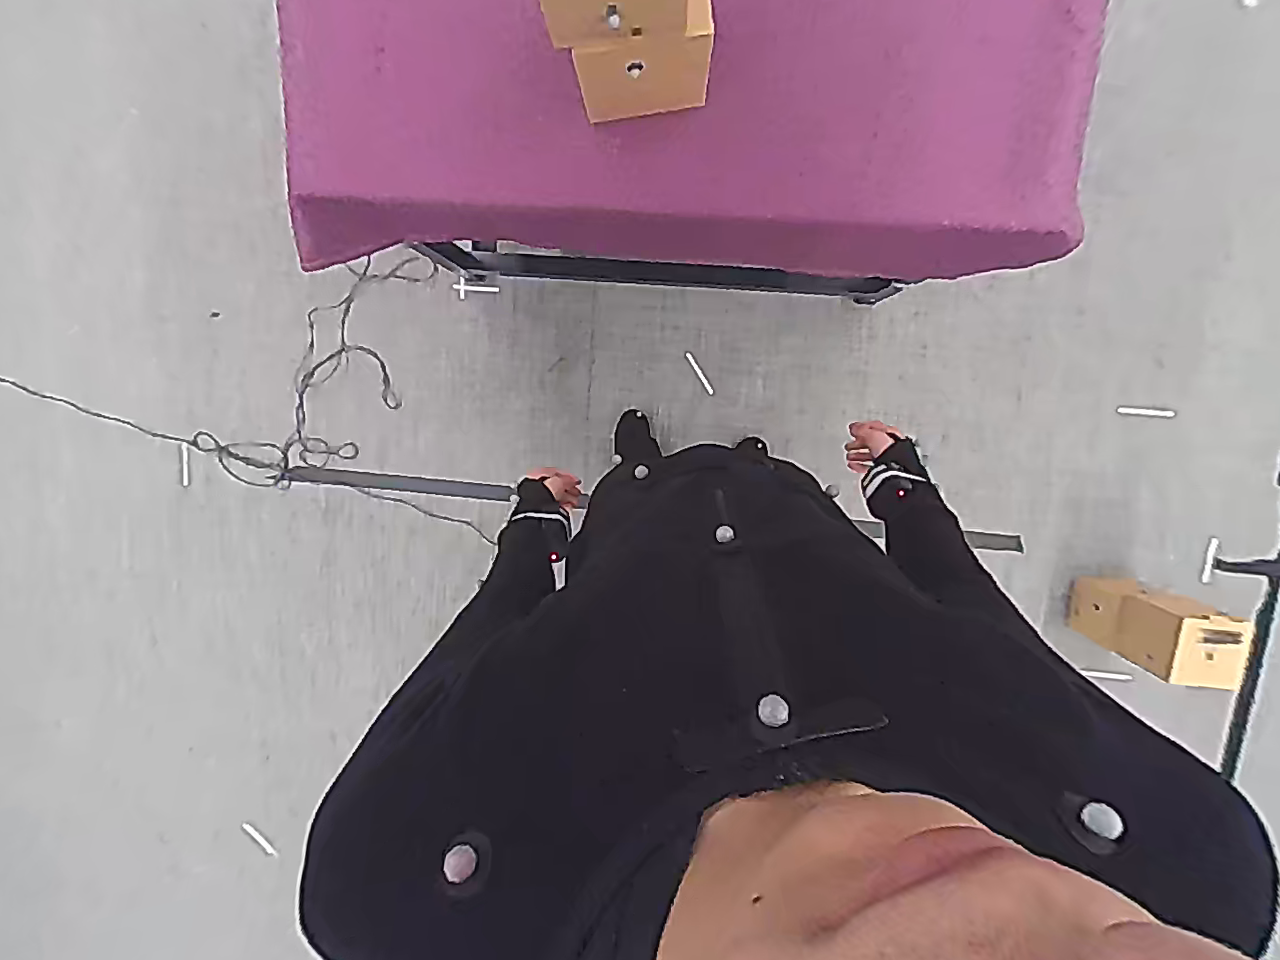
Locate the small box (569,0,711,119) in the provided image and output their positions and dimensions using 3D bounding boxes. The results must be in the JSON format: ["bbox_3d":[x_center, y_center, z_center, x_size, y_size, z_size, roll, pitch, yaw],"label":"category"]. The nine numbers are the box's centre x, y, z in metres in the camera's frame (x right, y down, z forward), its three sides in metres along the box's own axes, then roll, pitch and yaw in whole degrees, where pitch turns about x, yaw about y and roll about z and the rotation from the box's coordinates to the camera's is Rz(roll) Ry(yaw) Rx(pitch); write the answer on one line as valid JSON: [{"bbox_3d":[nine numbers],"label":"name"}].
[{"bbox_3d":[-0.004,-0.618,0.723,0.179,0.176,0.168,-6,98,3],"label":"small box"}]

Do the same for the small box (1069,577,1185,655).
[{"bbox_3d":[1.375,0.382,1.540,0.179,0.176,0.168,1,98,2],"label":"small box"}]

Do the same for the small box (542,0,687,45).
[{"bbox_3d":[-0.033,-0.602,0.560,0.168,0.176,0.179,-1,98,4],"label":"small box"}]
